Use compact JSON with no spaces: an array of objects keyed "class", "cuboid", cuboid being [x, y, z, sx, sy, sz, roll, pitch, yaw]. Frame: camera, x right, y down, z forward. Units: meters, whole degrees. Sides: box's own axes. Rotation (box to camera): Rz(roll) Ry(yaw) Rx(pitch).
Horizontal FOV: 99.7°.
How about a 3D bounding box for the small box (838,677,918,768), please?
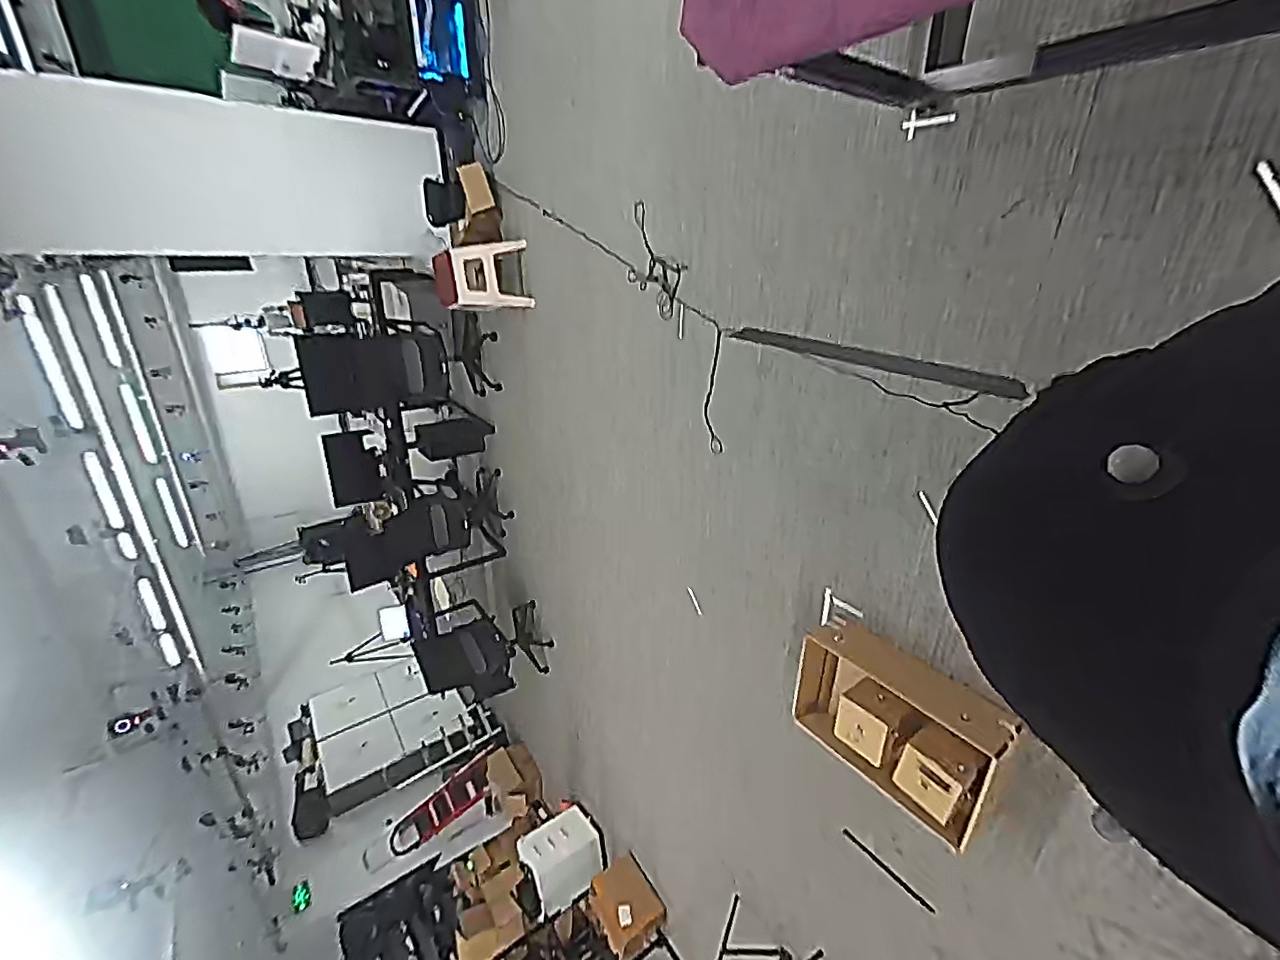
[{"class":"small box","cuboid":[0.775,0.776,1.754,0.168,0.176,0.179,28,125,48]}]
